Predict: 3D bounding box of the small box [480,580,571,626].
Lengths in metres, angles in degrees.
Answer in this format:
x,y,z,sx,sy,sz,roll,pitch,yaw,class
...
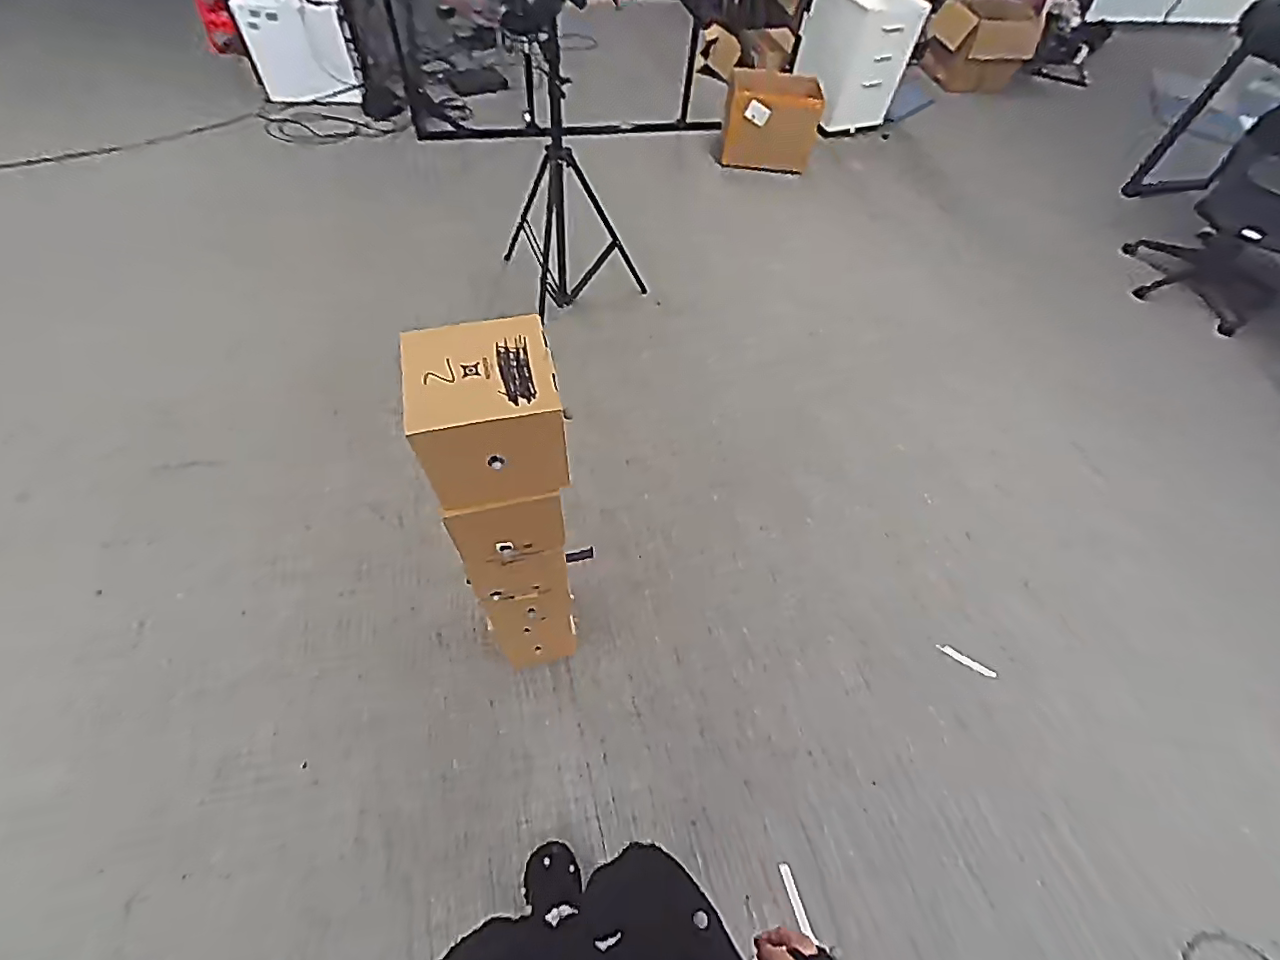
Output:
x,y,z,sx,sy,sz,roll,pitch,yaw,class
-0.236,0.190,1.113,0.168,0.176,0.179,-9,59,-11,small box

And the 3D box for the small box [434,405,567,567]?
x,y,z,sx,sy,sz,roll,pitch,yaw,class
-0.212,0.012,0.840,0.168,0.176,0.179,-12,60,-11,small box

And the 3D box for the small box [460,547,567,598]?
x,y,z,sx,sy,sz,roll,pitch,yaw,class
-0.227,0.100,0.976,0.168,0.176,0.179,-9,58,-11,small box

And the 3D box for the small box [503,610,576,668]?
x,y,z,sx,sy,sz,roll,pitch,yaw,class
-0.265,0.366,1.387,0.179,0.176,0.168,-10,59,-12,small box

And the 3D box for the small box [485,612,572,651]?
x,y,z,sx,sy,sz,roll,pitch,yaw,class
-0.257,0.282,1.247,0.179,0.176,0.168,-8,59,-10,small box
